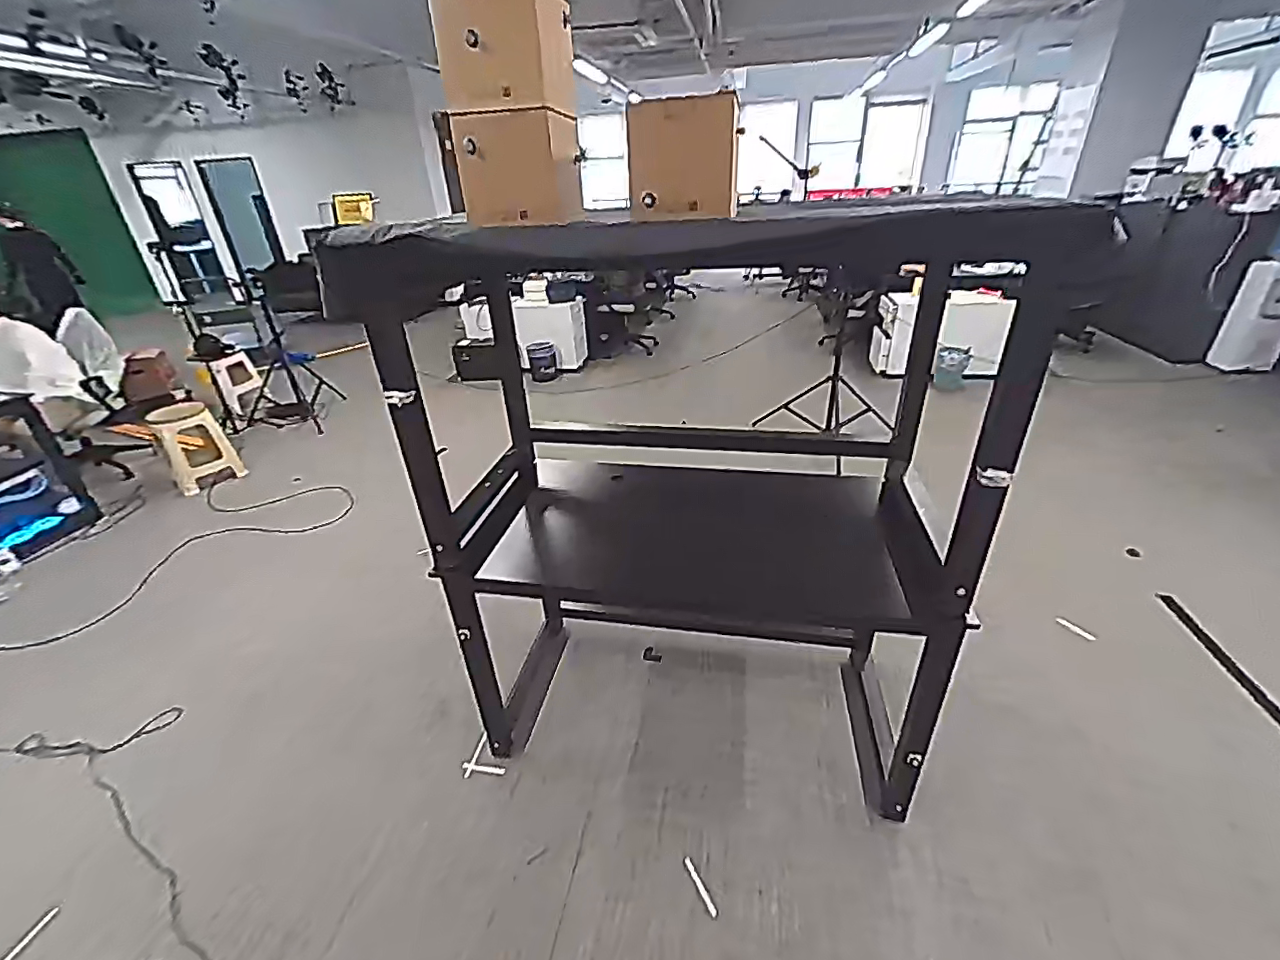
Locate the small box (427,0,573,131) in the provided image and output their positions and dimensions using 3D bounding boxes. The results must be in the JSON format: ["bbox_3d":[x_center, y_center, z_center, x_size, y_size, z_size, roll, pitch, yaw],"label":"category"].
[{"bbox_3d":[-0.213,-0.681,0.877,0.168,0.176,0.179,3,28,10],"label":"small box"}]

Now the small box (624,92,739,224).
[{"bbox_3d":[0.076,-0.526,0.903,0.168,0.176,0.179,4,27,11],"label":"small box"}]
